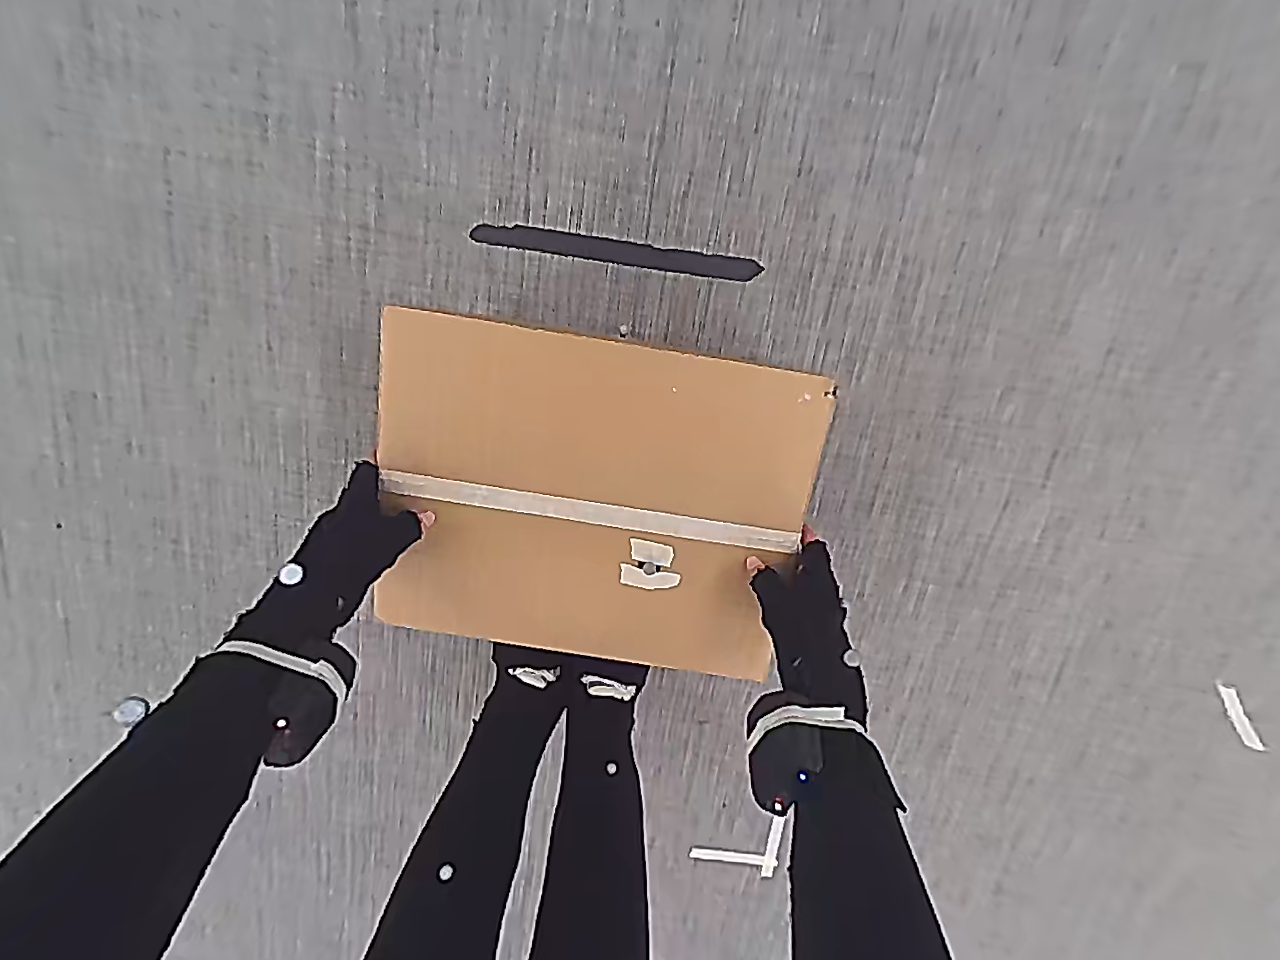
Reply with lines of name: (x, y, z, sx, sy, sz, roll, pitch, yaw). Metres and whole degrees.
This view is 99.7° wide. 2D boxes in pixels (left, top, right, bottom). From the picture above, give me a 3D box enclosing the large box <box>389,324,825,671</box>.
large box: (-0.044, -0.006, 0.673, 0.408, 0.320, 0.320, 9, 105, -1)
